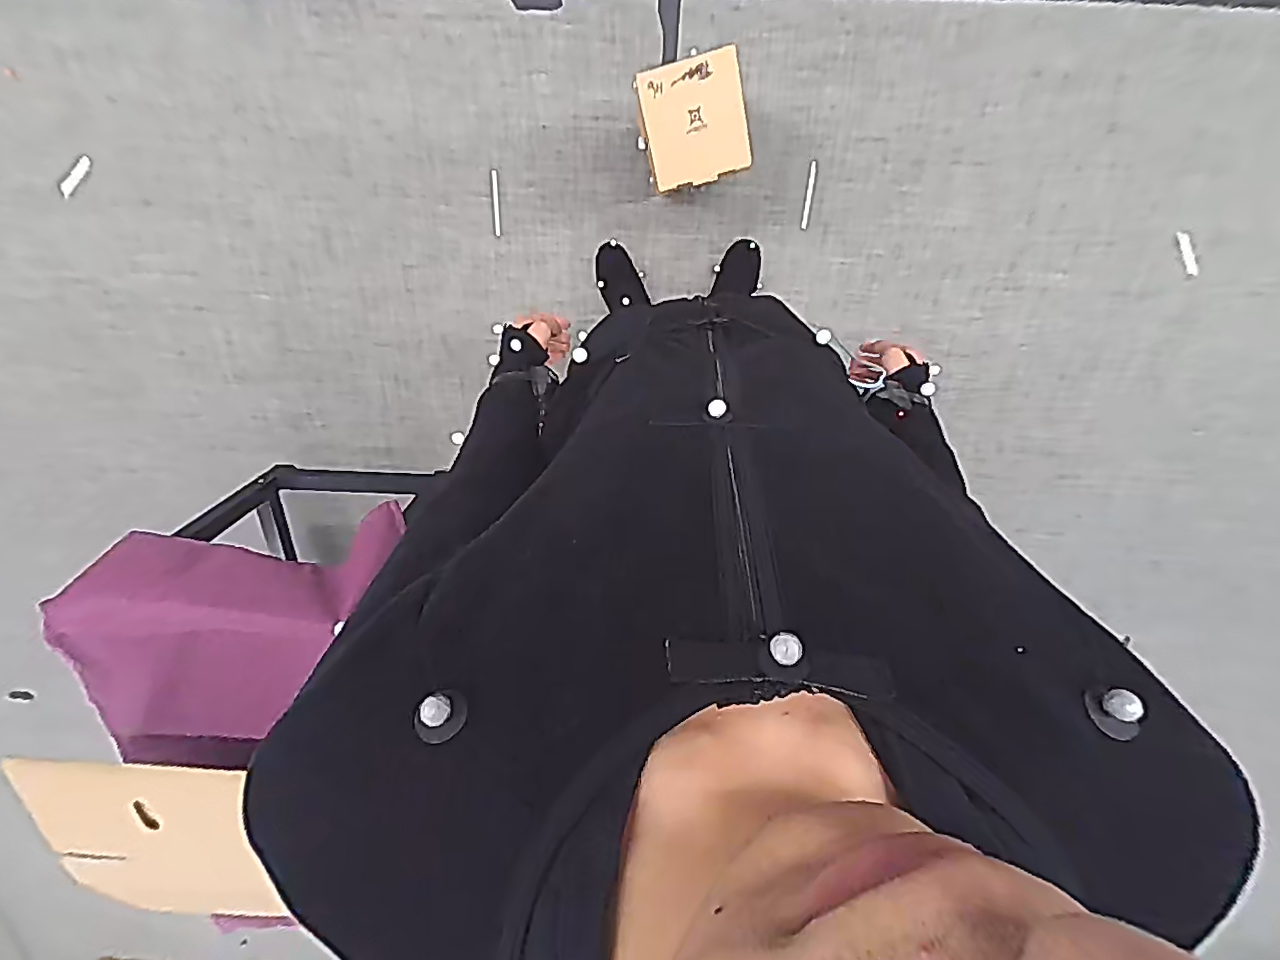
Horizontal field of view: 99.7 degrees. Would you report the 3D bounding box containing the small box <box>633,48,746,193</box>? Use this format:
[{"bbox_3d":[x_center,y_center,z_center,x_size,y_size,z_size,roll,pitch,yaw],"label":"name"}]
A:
[{"bbox_3d":[0.088,-0.633,0.972,0.168,0.176,0.179,-12,116,6],"label":"small box"}]
